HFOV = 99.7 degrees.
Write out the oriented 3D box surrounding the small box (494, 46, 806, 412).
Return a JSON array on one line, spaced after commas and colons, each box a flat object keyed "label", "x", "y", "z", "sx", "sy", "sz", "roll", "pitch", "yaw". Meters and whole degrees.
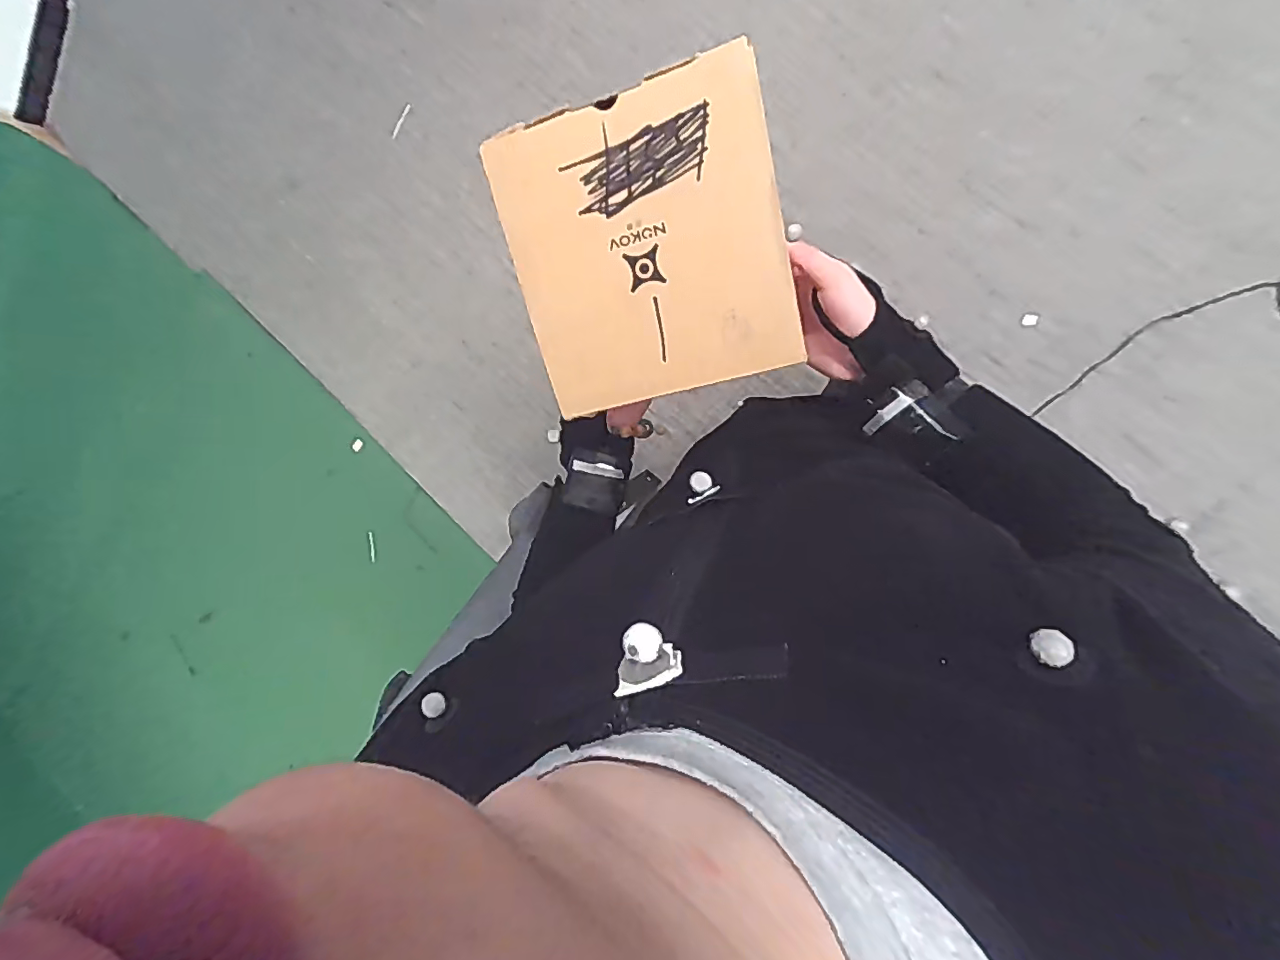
[{"label": "small box", "x": 0.022, "y": -0.164, "z": 0.405, "sx": 0.168, "sy": 0.176, "sz": 0.179, "roll": -10, "pitch": 107, "yaw": 16}]
